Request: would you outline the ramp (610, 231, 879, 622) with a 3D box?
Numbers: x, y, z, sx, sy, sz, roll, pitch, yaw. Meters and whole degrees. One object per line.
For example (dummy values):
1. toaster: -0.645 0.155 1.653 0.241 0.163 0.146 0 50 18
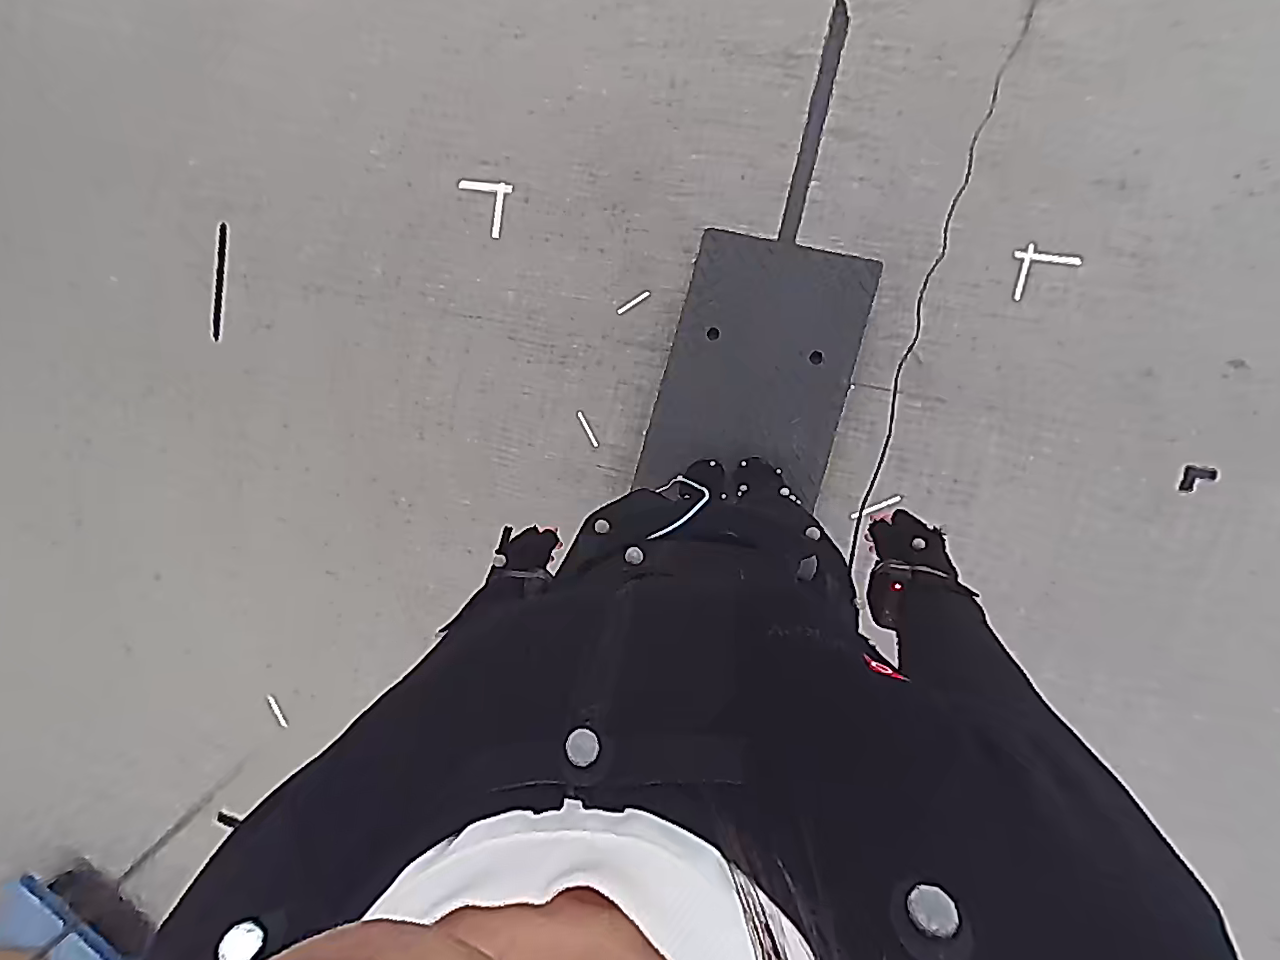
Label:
1. ramp: 0.277 -0.166 1.468 0.509 0.206 0.991 14 98 11
